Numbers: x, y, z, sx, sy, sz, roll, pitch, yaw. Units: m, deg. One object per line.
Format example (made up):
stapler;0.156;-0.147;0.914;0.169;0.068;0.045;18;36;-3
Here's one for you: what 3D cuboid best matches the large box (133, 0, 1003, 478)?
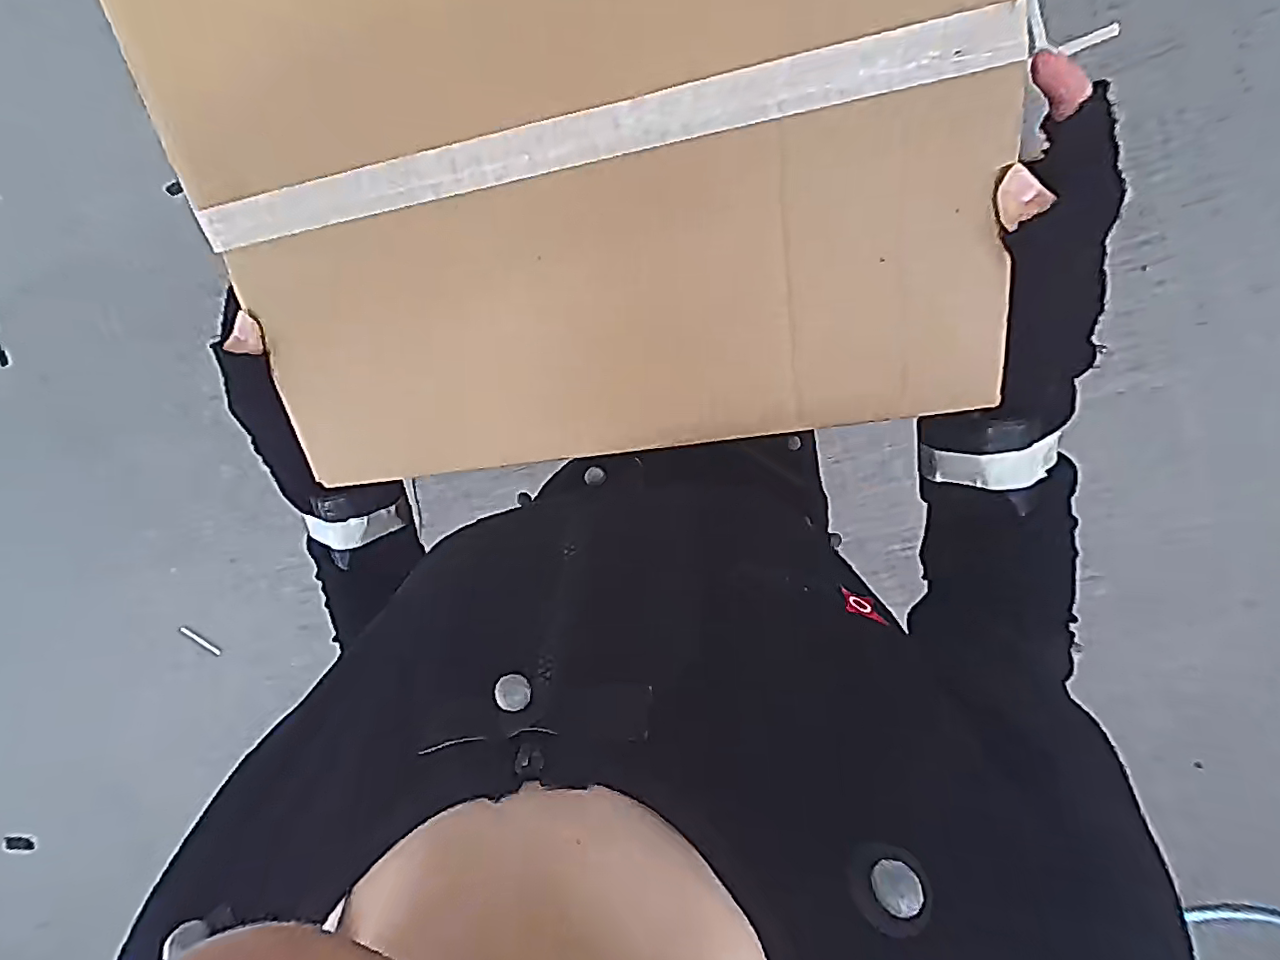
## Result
large box;-0.020;-0.222;0.404;0.408;0.320;0.320;-7;113;11
